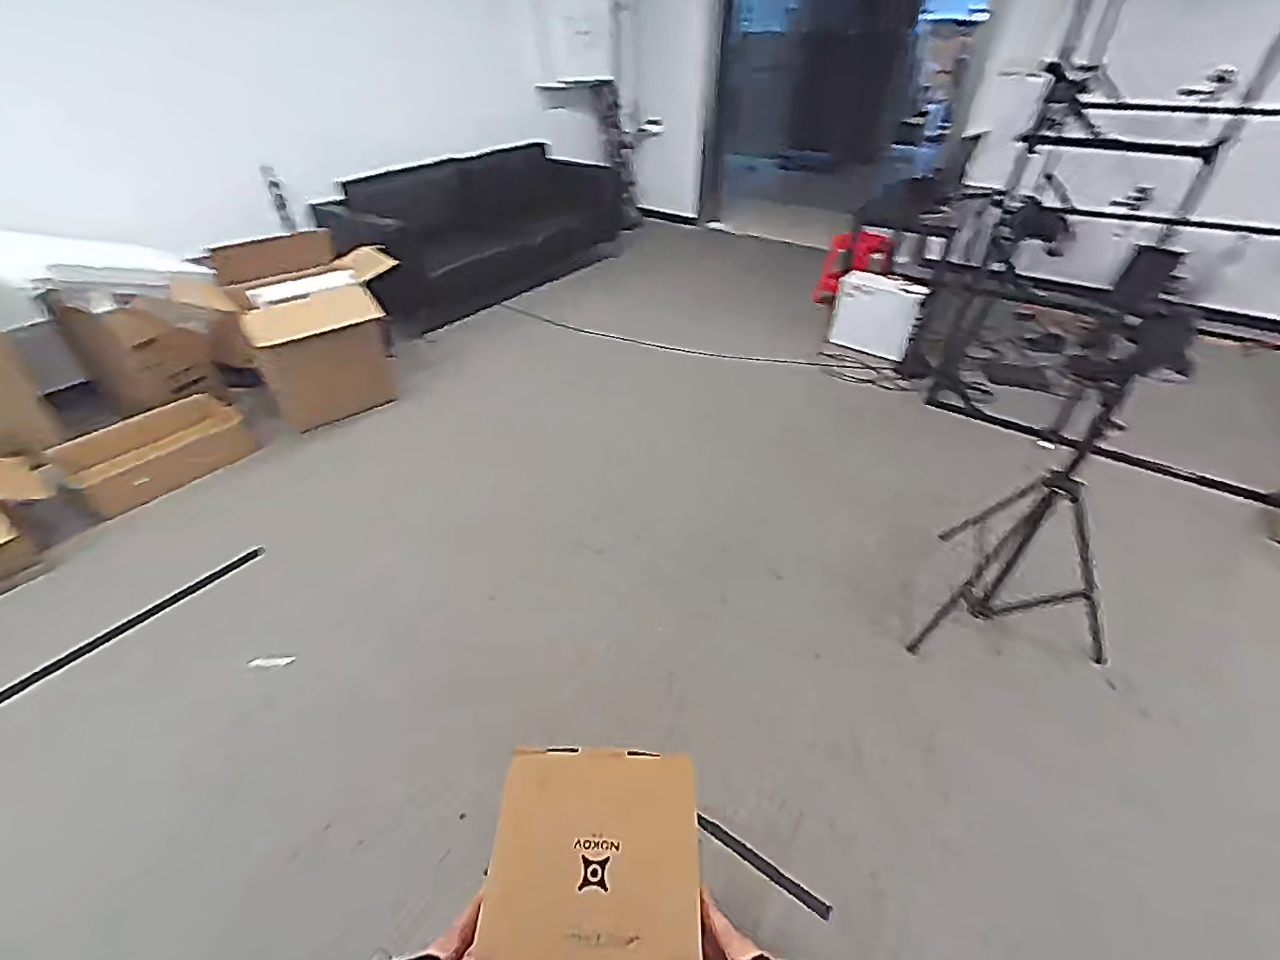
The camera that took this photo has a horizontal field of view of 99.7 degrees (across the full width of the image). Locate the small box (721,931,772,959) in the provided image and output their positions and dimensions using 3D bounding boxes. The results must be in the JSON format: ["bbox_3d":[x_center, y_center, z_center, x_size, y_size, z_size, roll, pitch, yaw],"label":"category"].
[{"bbox_3d":[0.190,0.954,0.942,0.168,0.176,0.179,23,44,25],"label":"small box"}]

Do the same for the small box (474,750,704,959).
[{"bbox_3d":[-0.039,0.363,0.475,0.168,0.176,0.179,2,44,-1],"label":"small box"}]
